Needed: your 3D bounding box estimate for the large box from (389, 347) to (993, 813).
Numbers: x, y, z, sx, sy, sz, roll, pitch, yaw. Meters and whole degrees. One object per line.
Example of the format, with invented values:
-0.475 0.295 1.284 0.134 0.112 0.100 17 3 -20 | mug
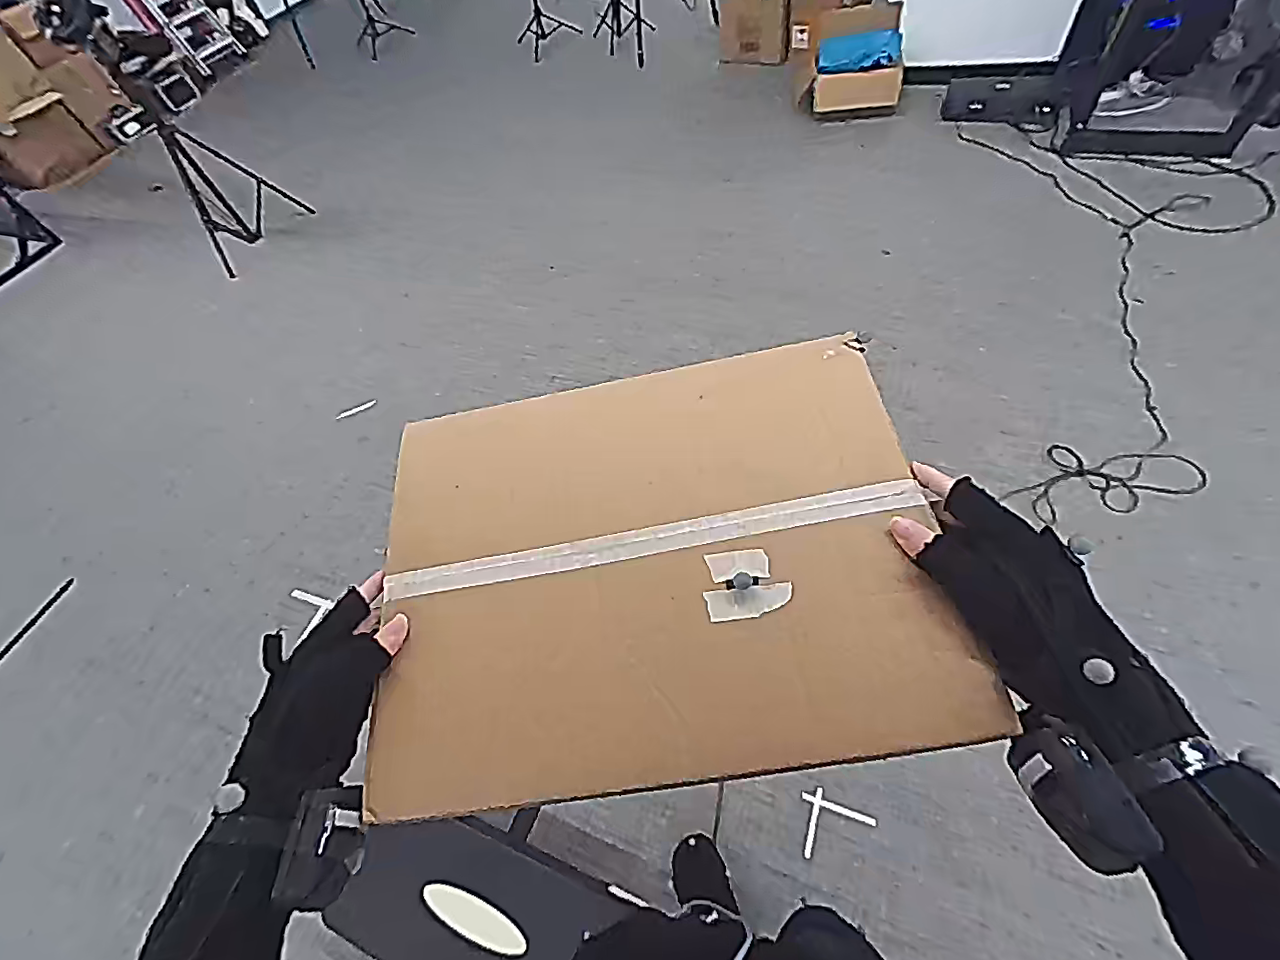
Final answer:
0.028 0.121 0.546 0.408 0.320 0.320 -11 61 4 | large box
